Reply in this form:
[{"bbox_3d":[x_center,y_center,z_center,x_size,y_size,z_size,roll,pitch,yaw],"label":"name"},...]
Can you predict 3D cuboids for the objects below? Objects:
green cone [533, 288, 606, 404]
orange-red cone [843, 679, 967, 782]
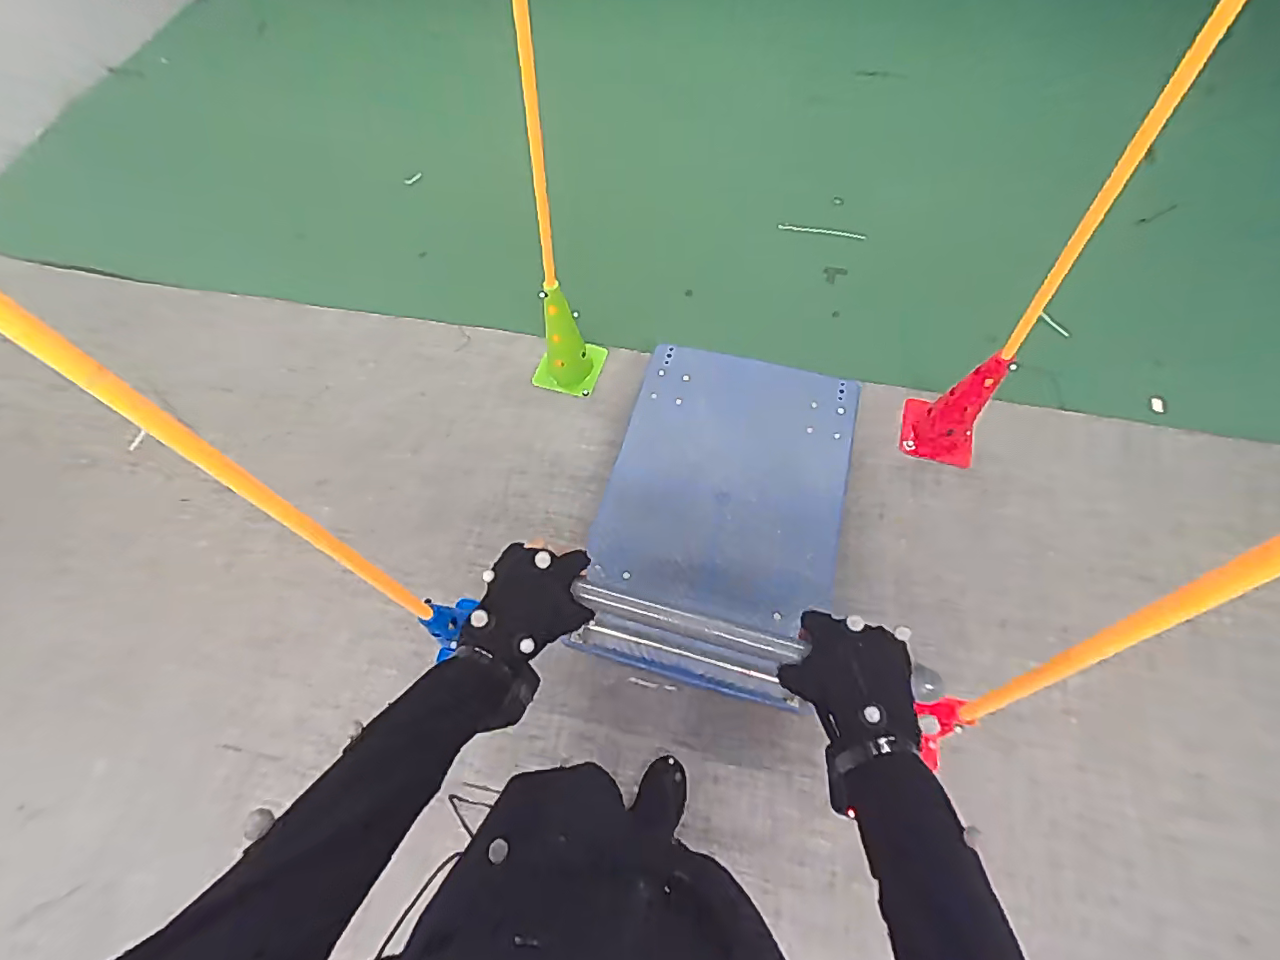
[{"bbox_3d":[-0.234,-0.420,1.603,0.202,0.368,0.200,14,64,9],"label":"green cone"},{"bbox_3d":[0.573,0.507,1.122,0.199,0.360,0.198,9,64,8],"label":"orange-red cone"}]
